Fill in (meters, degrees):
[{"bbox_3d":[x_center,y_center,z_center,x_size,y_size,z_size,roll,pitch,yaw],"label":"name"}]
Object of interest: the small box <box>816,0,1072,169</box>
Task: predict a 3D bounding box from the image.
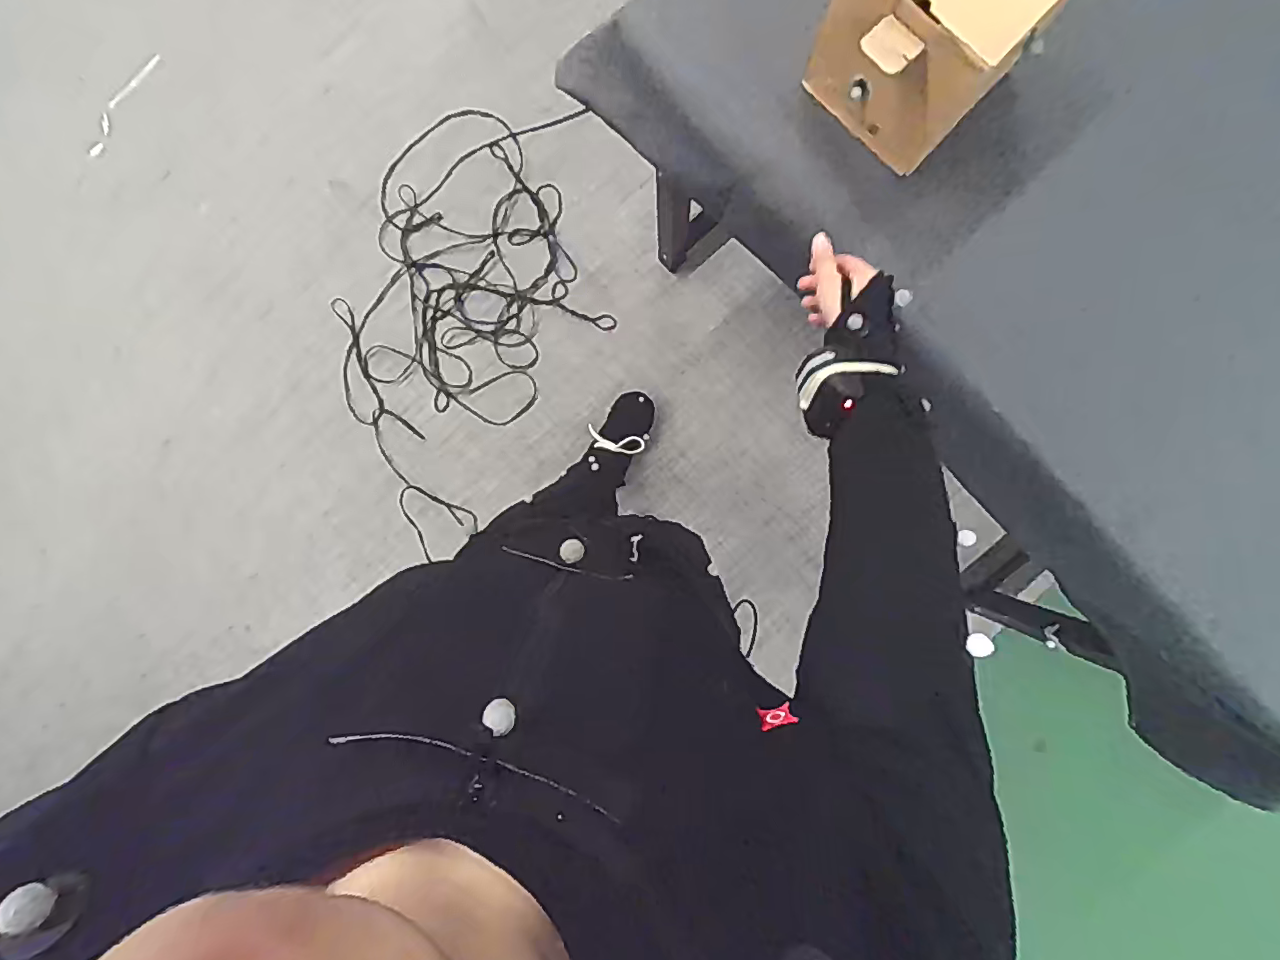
[{"bbox_3d":[0.308,-0.468,0.541,0.168,0.176,0.179,44,92,1],"label":"small box"}]
